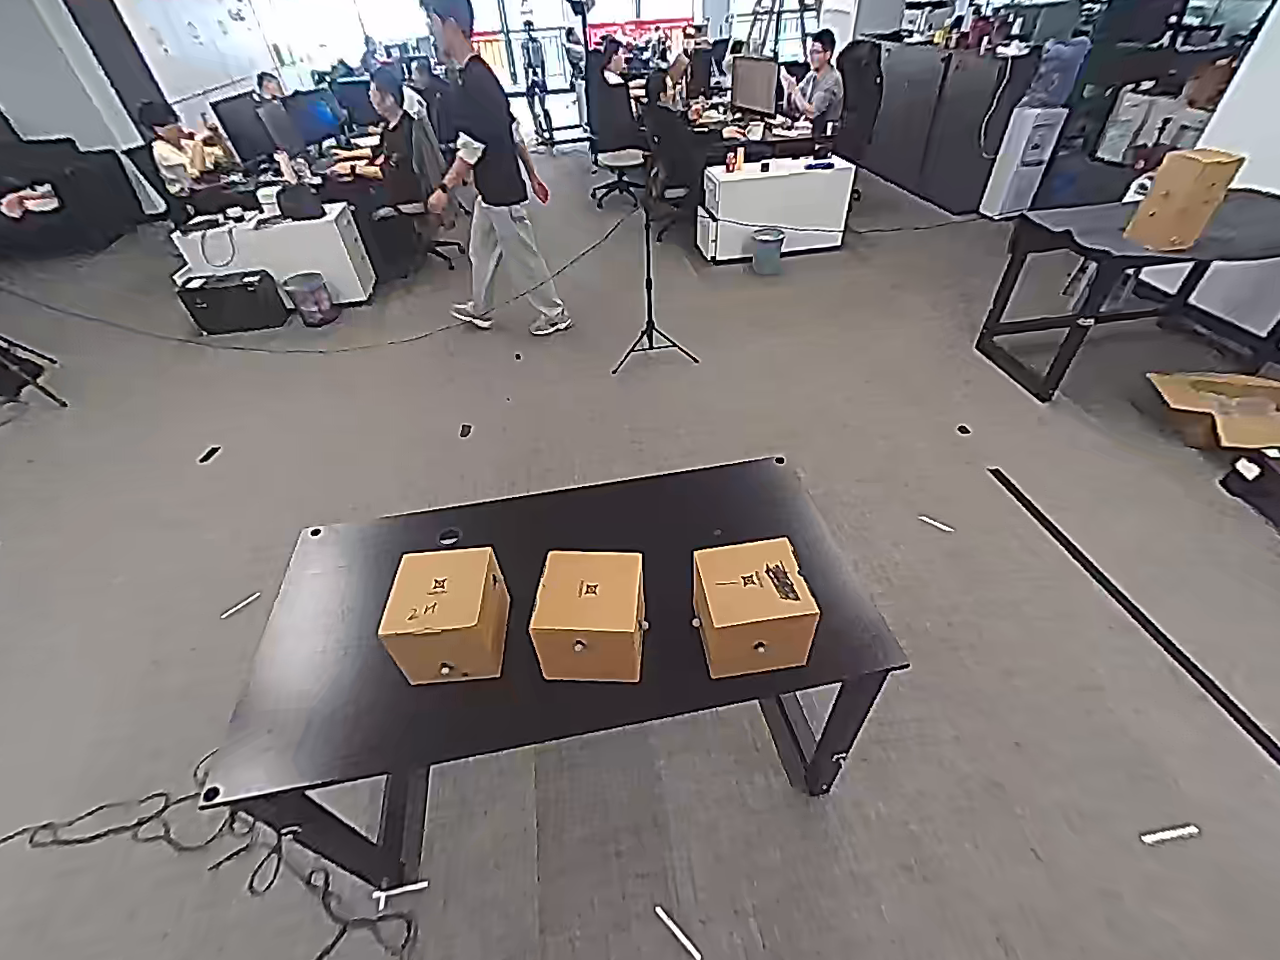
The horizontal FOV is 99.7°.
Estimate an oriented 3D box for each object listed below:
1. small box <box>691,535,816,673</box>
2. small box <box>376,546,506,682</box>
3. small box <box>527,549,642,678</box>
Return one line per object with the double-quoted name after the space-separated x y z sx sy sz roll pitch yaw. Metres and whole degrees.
0.192 0.223 0.972 0.179 0.176 0.168 -8 42 -3 "small box"
-0.351 0.245 0.993 0.168 0.176 0.179 -5 43 -1 "small box"
-0.088 0.242 0.978 0.179 0.176 0.168 0 42 5 "small box"
